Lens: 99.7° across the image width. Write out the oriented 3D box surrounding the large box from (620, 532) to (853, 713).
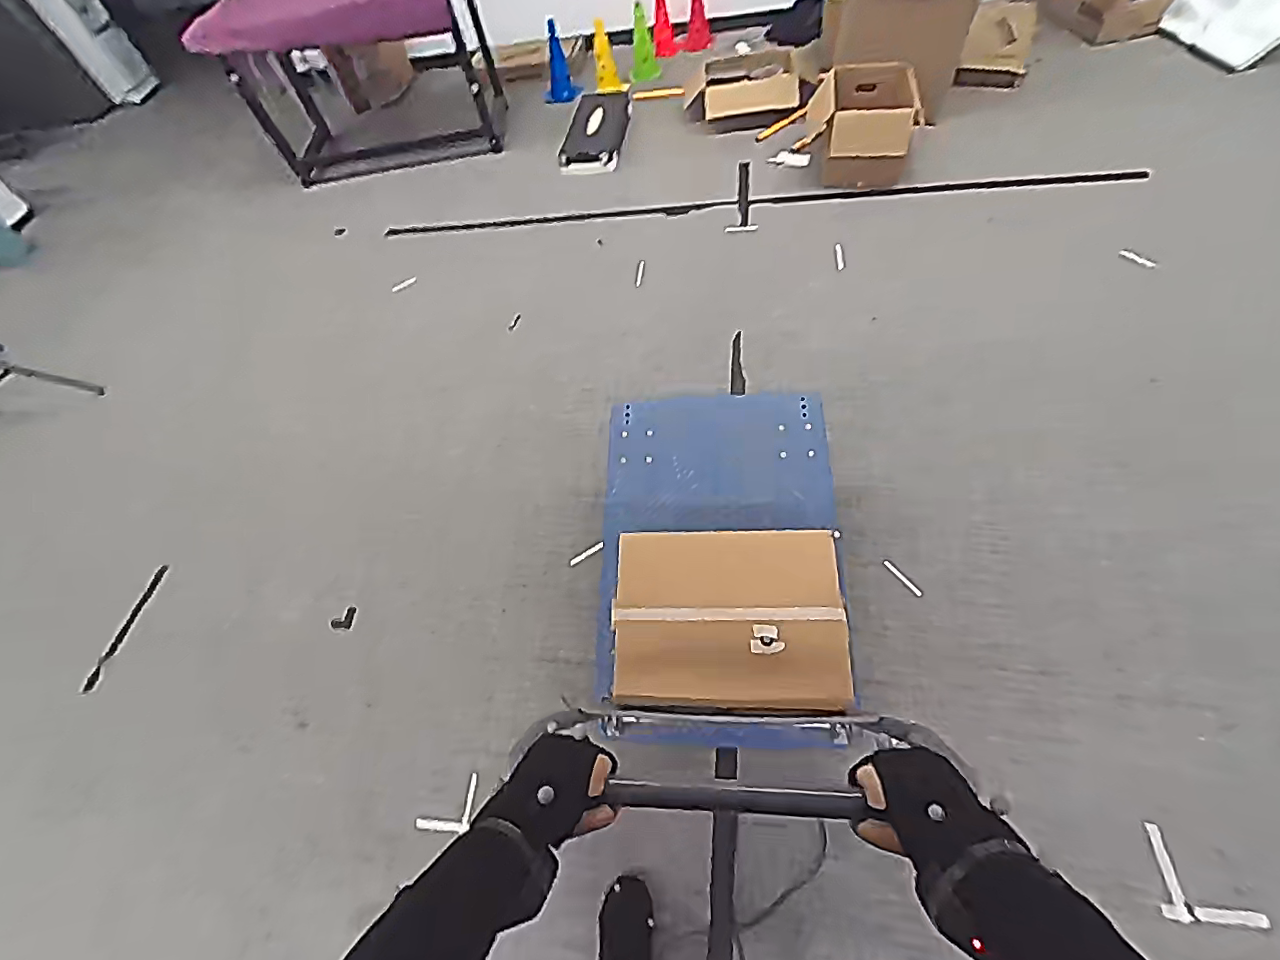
[{"bbox_3d":[0.178,0.309,1.120,0.408,0.320,0.320,-2,66,7],"label":"large box"}]
